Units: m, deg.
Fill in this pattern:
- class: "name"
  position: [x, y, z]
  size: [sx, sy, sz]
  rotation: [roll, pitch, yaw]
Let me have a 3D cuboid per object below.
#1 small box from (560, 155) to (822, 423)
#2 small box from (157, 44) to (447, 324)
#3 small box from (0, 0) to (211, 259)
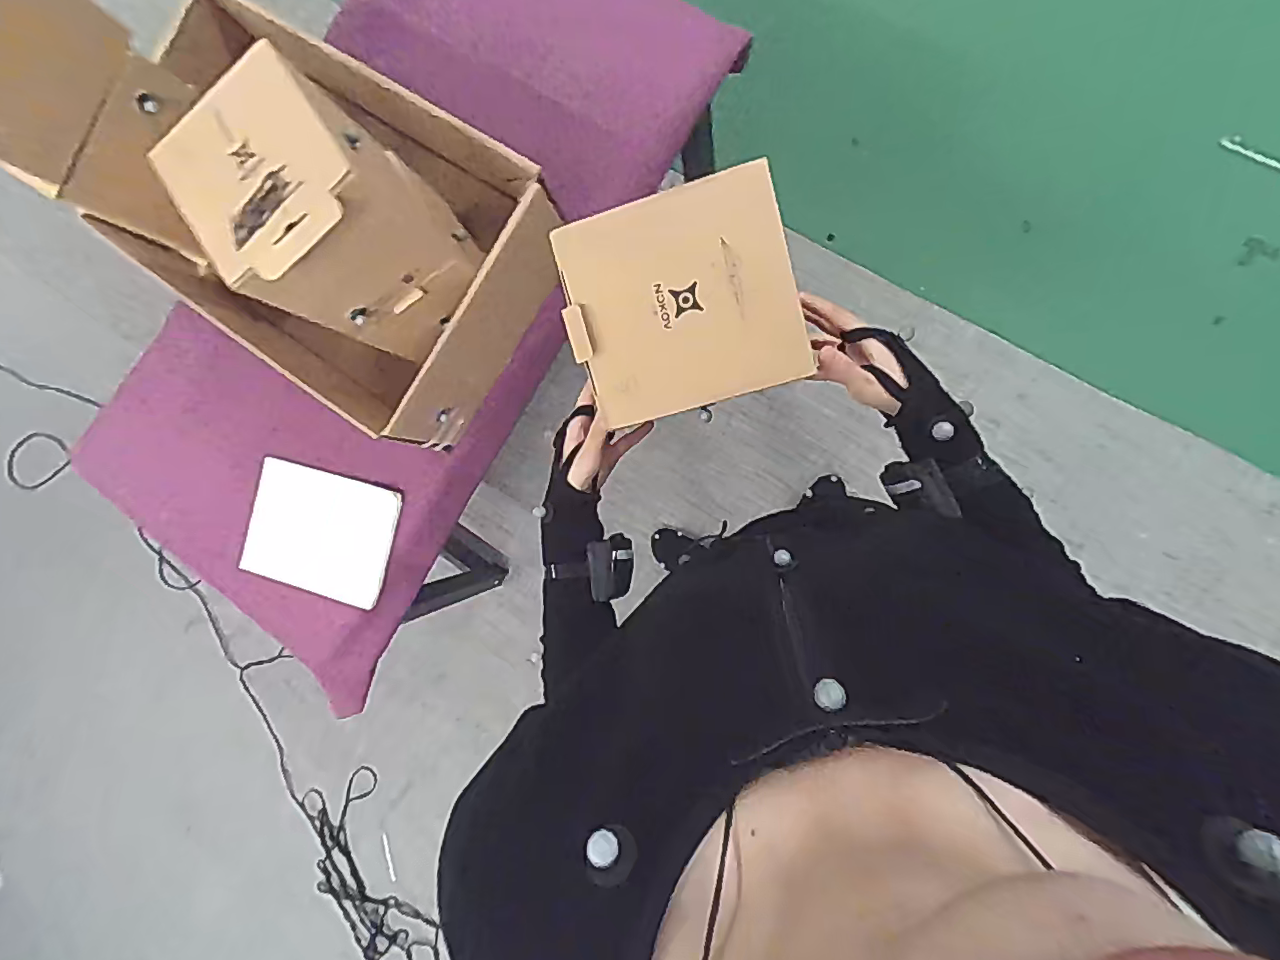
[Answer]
- class: "small box"
  position: [0.049, -0.152, 0.495]
  size: [0.179, 0.176, 0.168]
  rotation: [-14, 96, 10]
- class: "small box"
  position: [-0.347, -0.293, 0.585]
  size: [0.168, 0.176, 0.179]
  rotation: [-36, 81, 9]
- class: "small box"
  position: [-0.603, -0.398, 0.641]
  size: [0.168, 0.176, 0.179]
  rotation: [31, 94, 8]
